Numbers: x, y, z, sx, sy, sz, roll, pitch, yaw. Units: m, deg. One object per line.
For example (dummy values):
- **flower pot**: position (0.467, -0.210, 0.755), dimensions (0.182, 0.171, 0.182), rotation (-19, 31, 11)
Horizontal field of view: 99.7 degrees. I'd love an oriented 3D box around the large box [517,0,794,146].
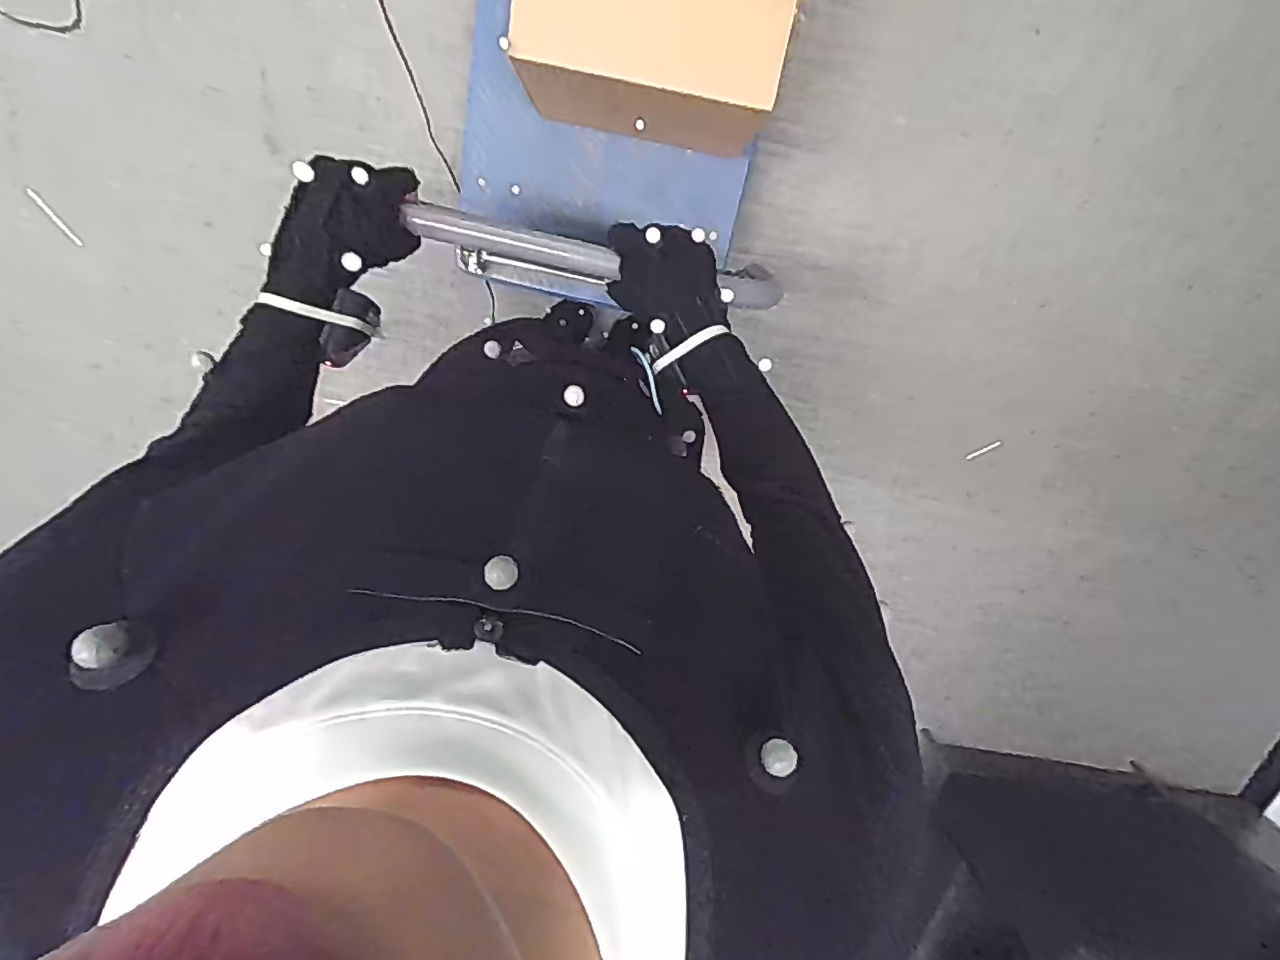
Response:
- **large box**: position (0.034, -0.795, 0.909), dimensions (0.408, 0.320, 0.320), rotation (8, 109, -3)
